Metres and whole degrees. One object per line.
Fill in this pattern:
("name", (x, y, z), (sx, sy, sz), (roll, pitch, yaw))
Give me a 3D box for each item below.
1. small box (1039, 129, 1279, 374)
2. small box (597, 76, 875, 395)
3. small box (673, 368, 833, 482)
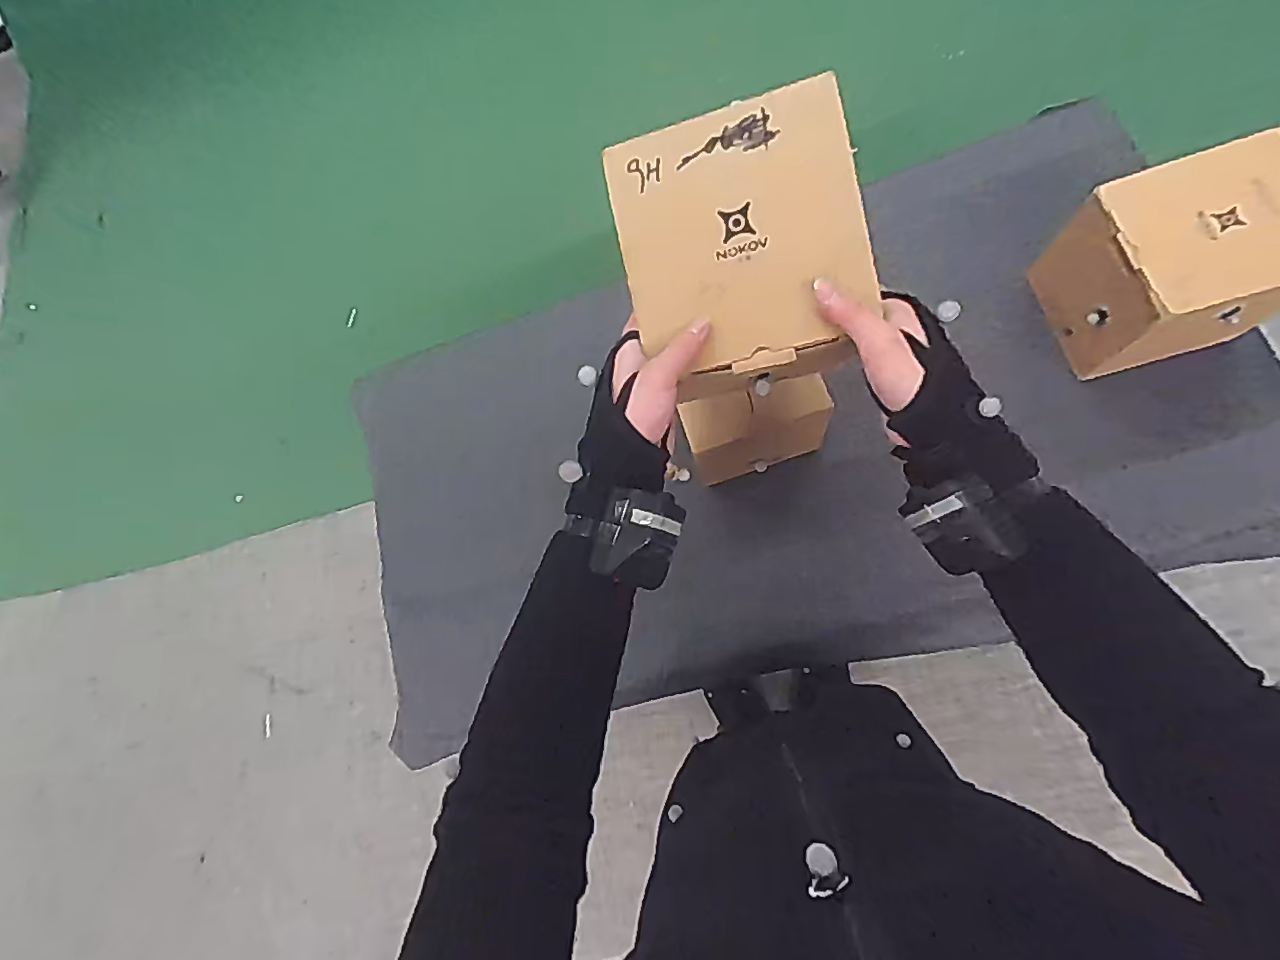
("small box", (0.601, -0.242, 0.618), (0.179, 0.176, 0.168), (-16, 75, 9))
("small box", (0.080, -0.173, 0.453), (0.168, 0.176, 0.179), (-12, 92, 12))
("small box", (0.131, -0.115, 0.702), (0.168, 0.176, 0.179), (-19, 74, 9))
